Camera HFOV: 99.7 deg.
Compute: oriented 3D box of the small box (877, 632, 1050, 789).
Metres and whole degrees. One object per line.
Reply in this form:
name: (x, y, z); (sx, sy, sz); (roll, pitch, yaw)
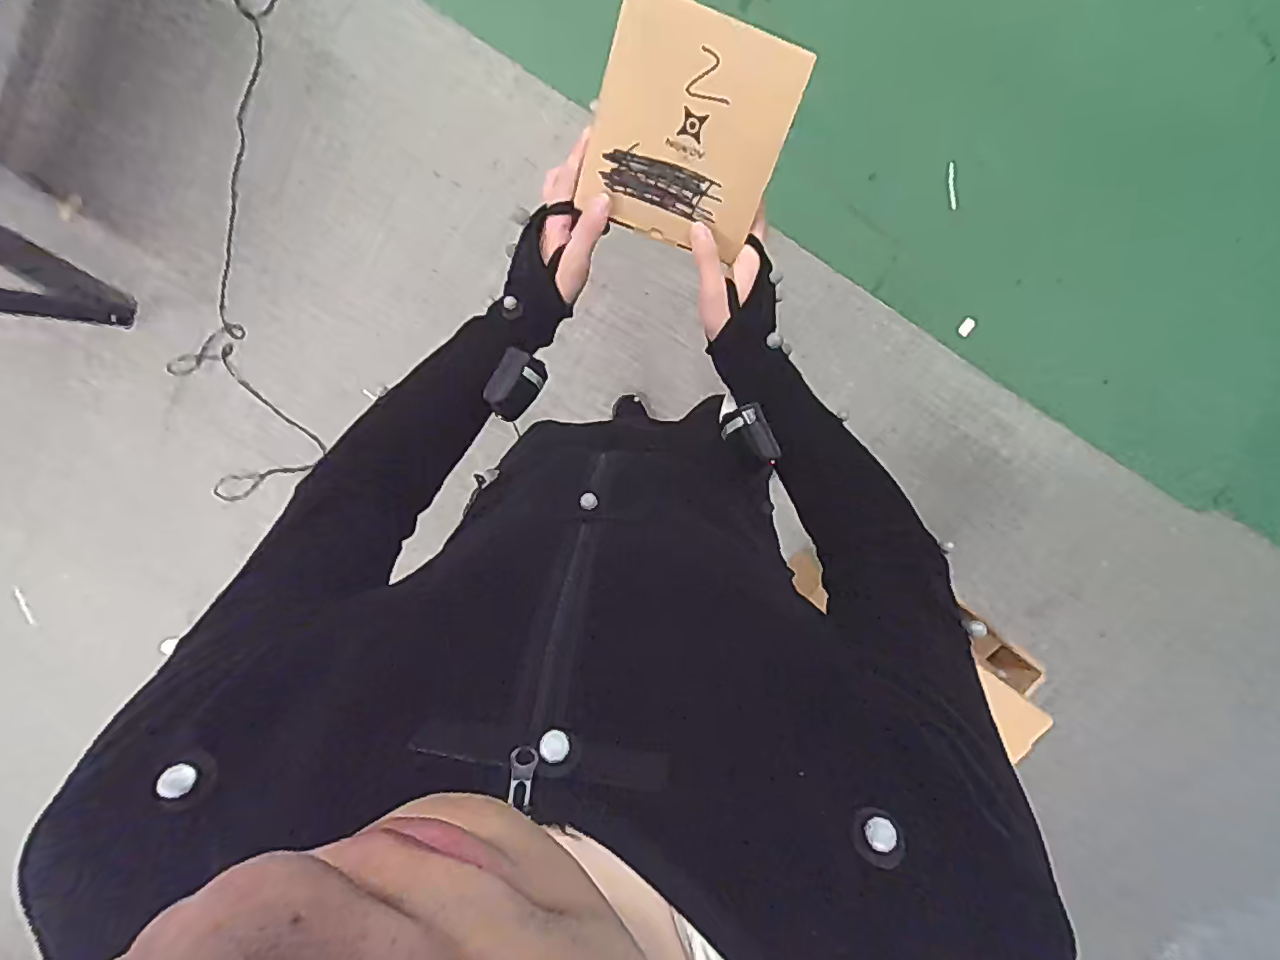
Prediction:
small box: (0.584, 0.414, 1.000); (0.179, 0.176, 0.168); (36, 98, -5)
